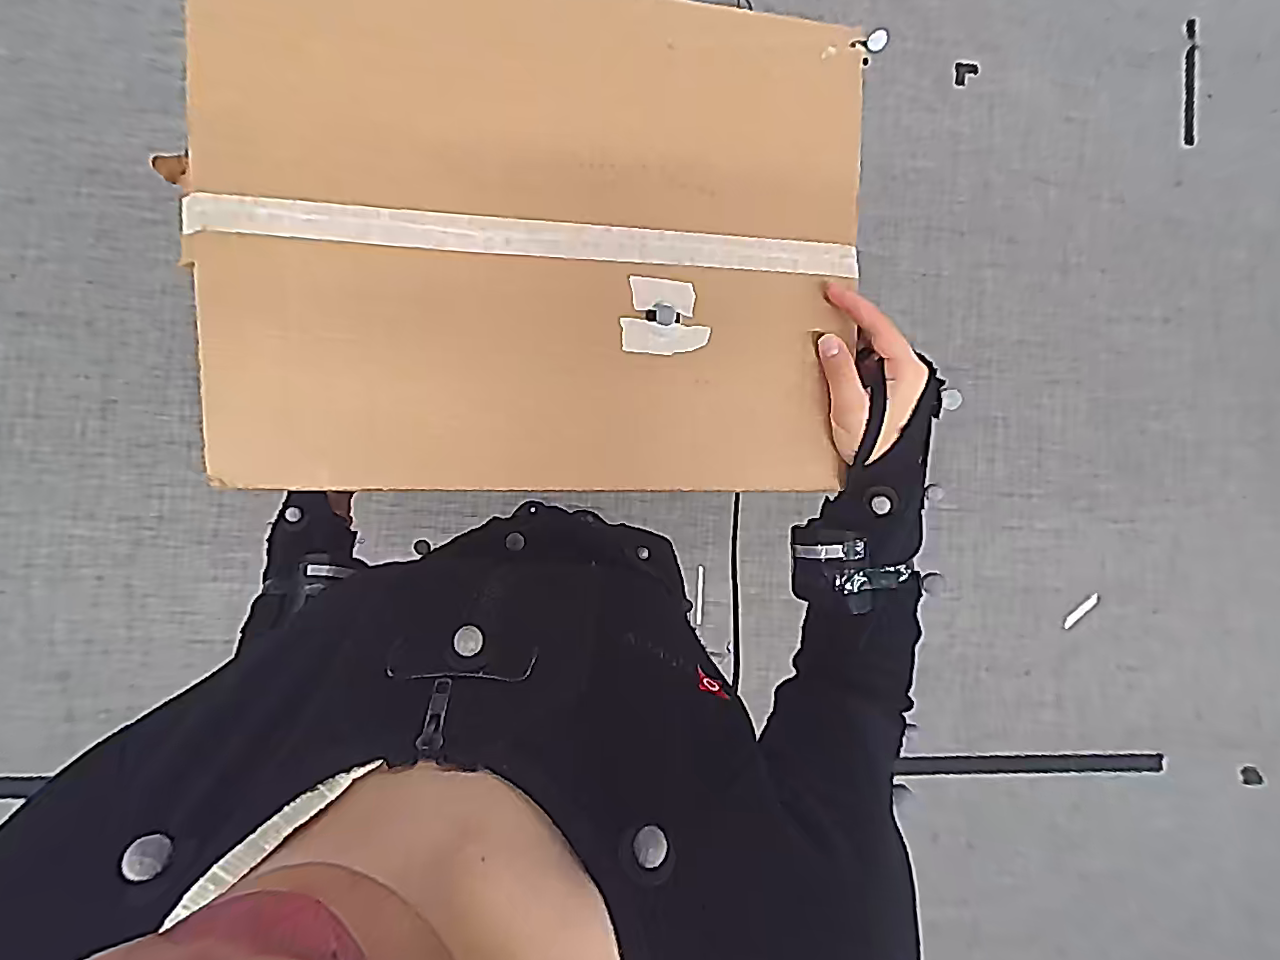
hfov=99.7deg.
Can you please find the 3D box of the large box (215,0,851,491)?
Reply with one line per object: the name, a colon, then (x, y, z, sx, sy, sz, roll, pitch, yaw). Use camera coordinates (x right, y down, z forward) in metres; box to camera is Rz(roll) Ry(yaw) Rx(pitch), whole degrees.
large box: (-0.076, -0.160, 0.496, 0.408, 0.320, 0.320, 0, 95, -11)
